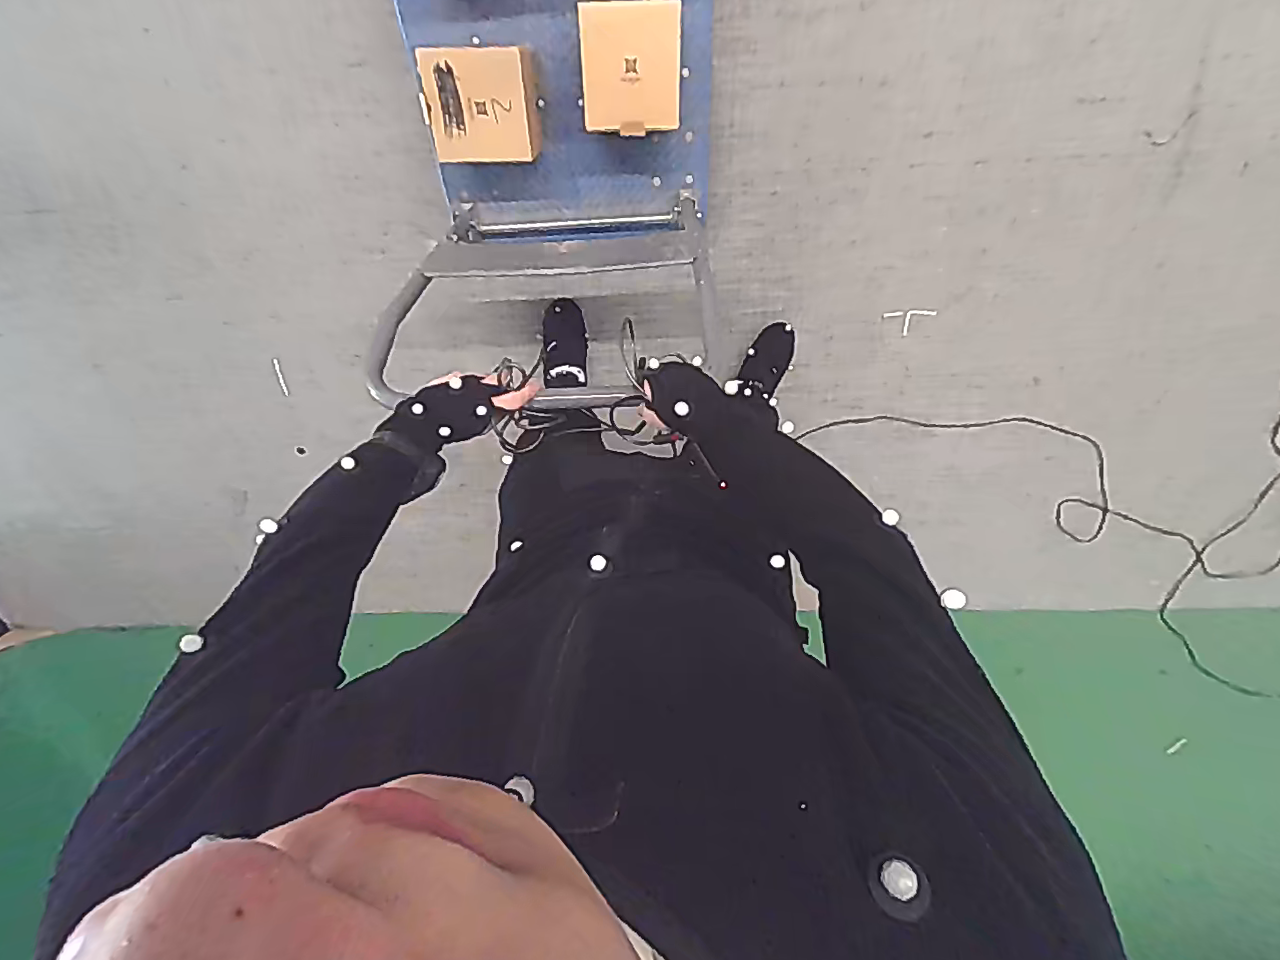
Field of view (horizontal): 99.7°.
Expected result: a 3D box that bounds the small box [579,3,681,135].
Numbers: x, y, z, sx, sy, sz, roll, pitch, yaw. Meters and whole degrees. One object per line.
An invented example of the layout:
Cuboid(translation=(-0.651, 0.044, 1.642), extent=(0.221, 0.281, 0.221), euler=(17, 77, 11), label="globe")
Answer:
Cuboid(translation=(-0.015, -0.730, 0.966), extent=(0.168, 0.176, 0.179), euler=(0, 130, 1), label="small box")
